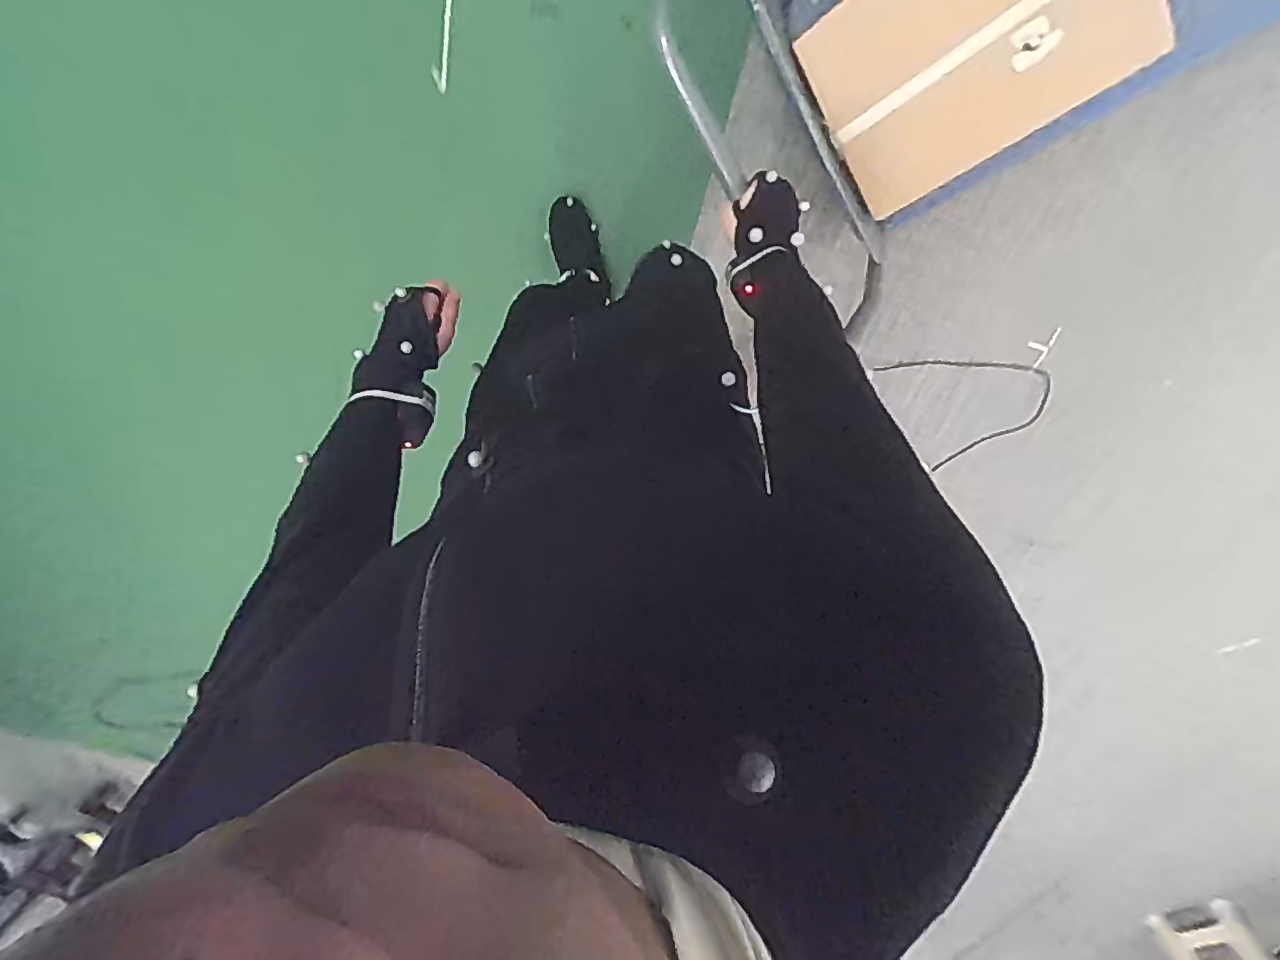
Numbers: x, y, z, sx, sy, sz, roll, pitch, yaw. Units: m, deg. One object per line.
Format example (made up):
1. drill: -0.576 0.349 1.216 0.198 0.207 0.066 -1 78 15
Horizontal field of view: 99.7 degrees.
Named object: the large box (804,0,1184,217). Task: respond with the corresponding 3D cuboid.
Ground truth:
1. large box: 0.530 -0.717 0.888 0.408 0.320 0.320 -23 116 34
